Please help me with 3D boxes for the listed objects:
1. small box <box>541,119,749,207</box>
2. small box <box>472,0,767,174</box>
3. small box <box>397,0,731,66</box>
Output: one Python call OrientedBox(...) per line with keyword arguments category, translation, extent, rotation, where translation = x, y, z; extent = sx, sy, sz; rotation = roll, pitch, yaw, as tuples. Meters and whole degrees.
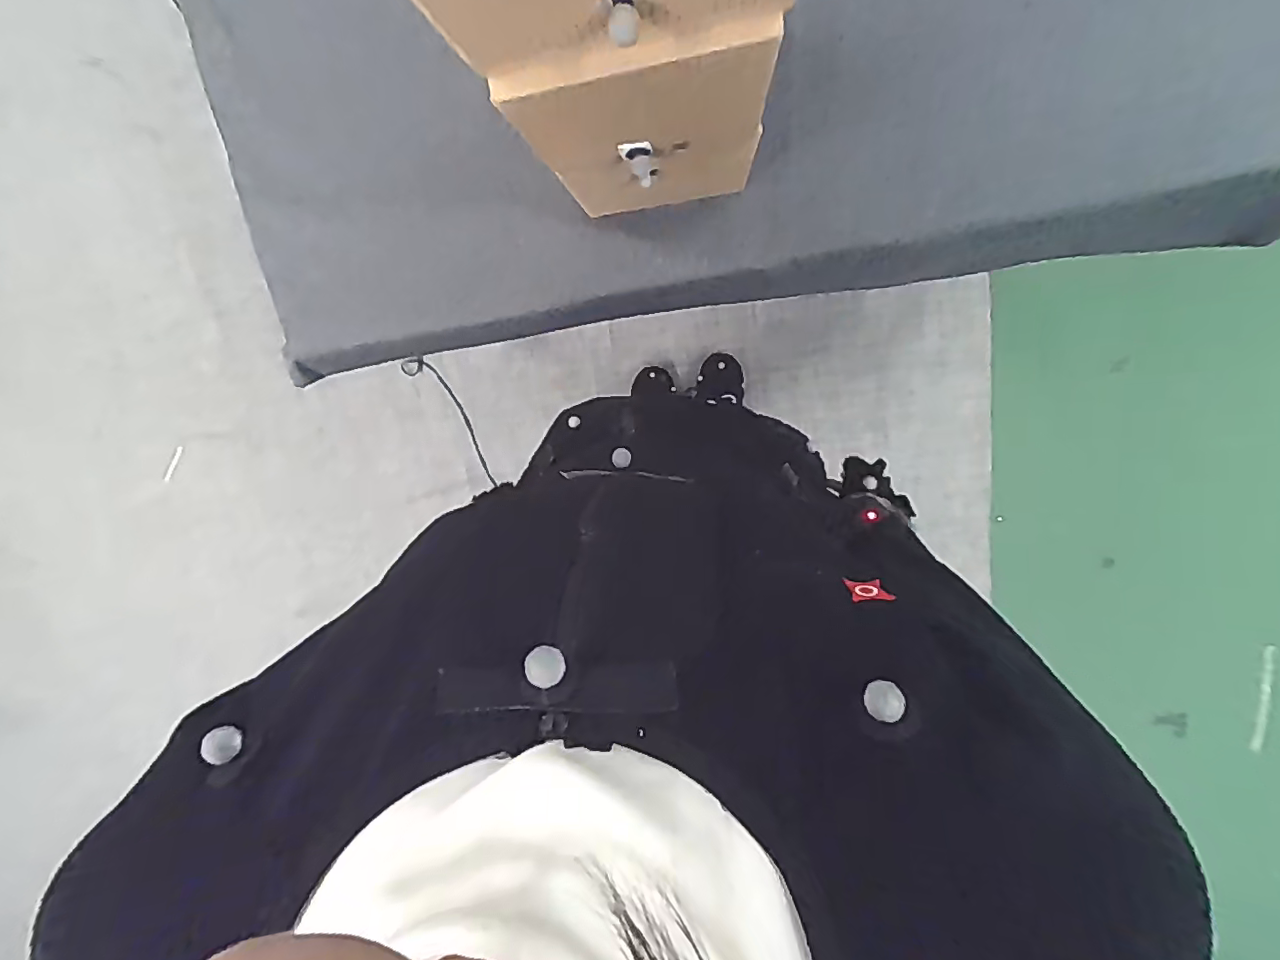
OrientedBox(category="small box", translation=(0.004, -0.372, 0.506), extent=(0.179, 0.176, 0.168), rotation=(-6, 104, 8))
OrientedBox(category="small box", translation=(-0.014, -0.330, 0.352), extent=(0.168, 0.176, 0.179), rotation=(-6, 105, 10))
OrientedBox(category="small box", translation=(-0.036, -0.292, 0.194), extent=(0.179, 0.176, 0.168), rotation=(-6, 104, 9))
